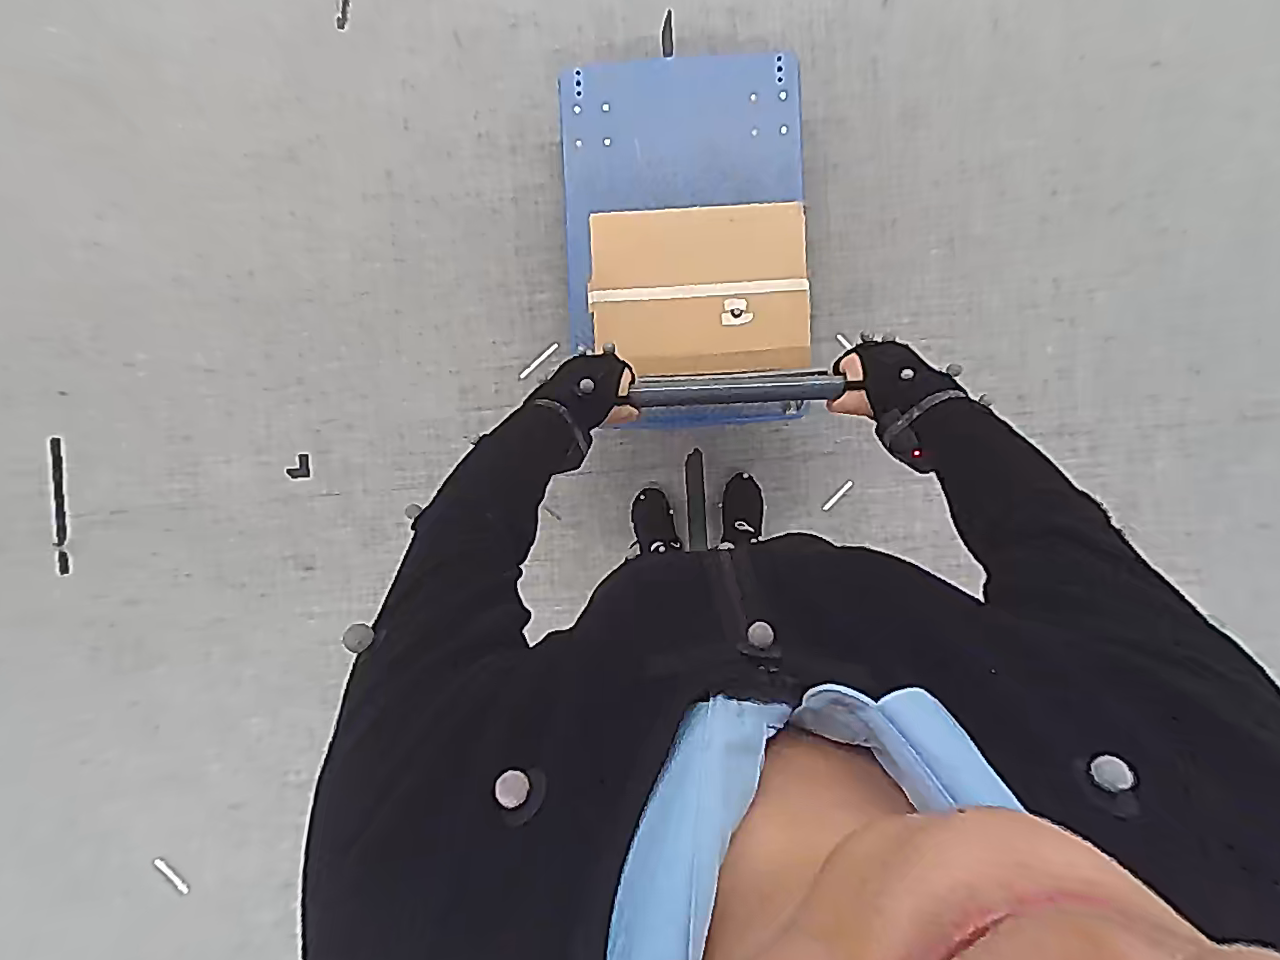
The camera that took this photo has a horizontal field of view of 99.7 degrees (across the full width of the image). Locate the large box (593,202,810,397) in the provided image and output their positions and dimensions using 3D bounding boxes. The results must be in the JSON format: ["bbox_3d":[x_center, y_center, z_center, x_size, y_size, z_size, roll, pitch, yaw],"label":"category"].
[{"bbox_3d":[0.118,-0.365,1.178,0.408,0.320,0.320,-3,92,1],"label":"large box"}]
